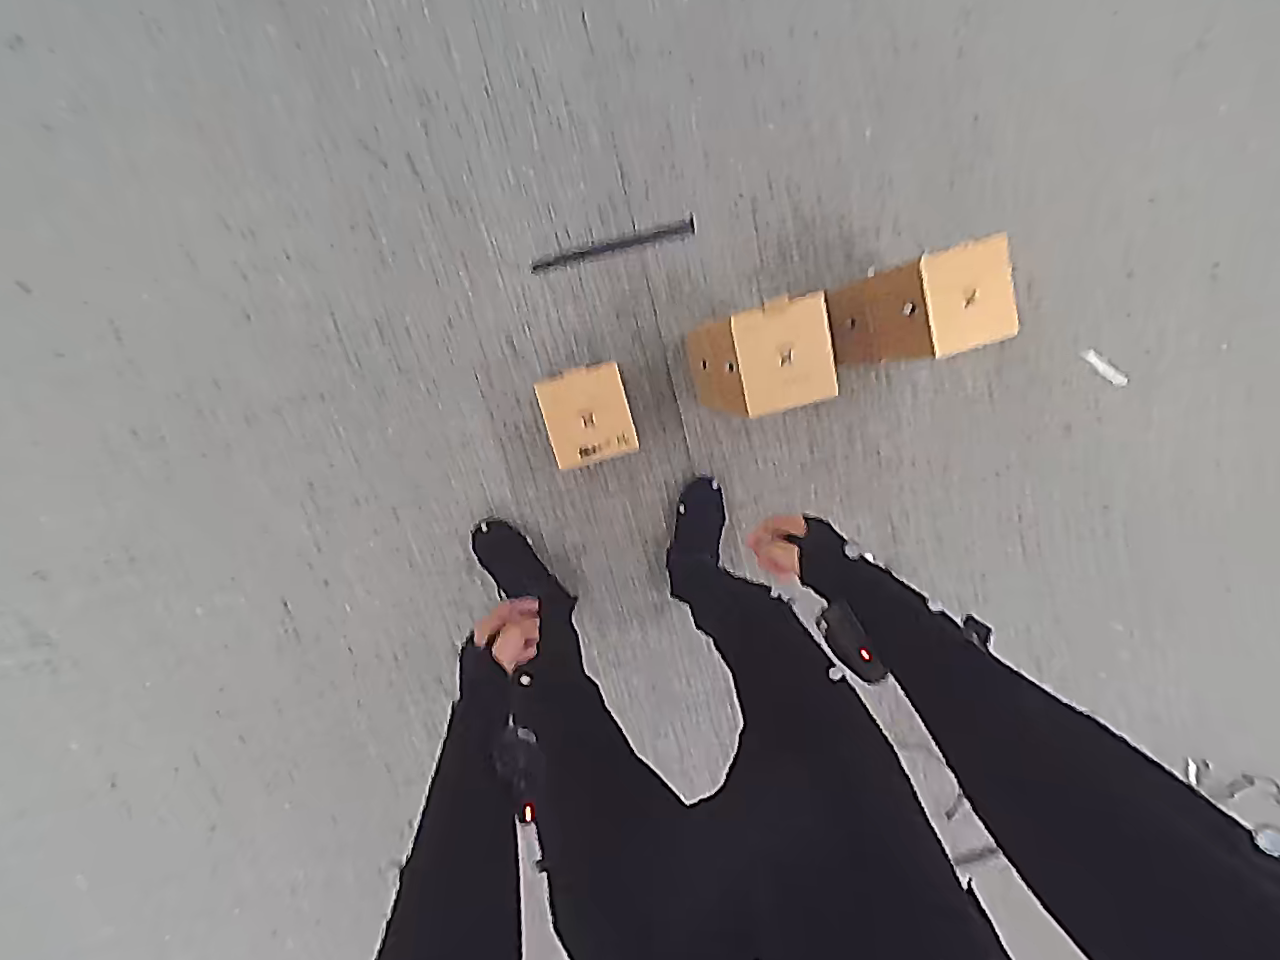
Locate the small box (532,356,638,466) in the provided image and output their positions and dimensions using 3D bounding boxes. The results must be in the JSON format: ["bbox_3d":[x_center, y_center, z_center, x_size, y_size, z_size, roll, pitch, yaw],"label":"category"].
[{"bbox_3d":[-0.114,-0.141,1.097,0.168,0.176,0.179,-16,101,-5],"label":"small box"}]

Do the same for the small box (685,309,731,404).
[{"bbox_3d":[0.201,-0.261,1.121,0.168,0.176,0.179,-15,103,-6],"label":"small box"}]

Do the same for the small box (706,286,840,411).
[{"bbox_3d":[0.228,-0.226,0.963,0.168,0.176,0.179,-15,102,-5],"label":"small box"}]

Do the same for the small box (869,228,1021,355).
[{"bbox_3d":[0.552,-0.335,0.995,0.168,0.176,0.179,-18,101,-5],"label":"small box"}]

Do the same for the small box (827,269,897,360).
[{"bbox_3d":[0.525,-0.362,1.153,0.168,0.176,0.179,-18,102,-5],"label":"small box"}]
